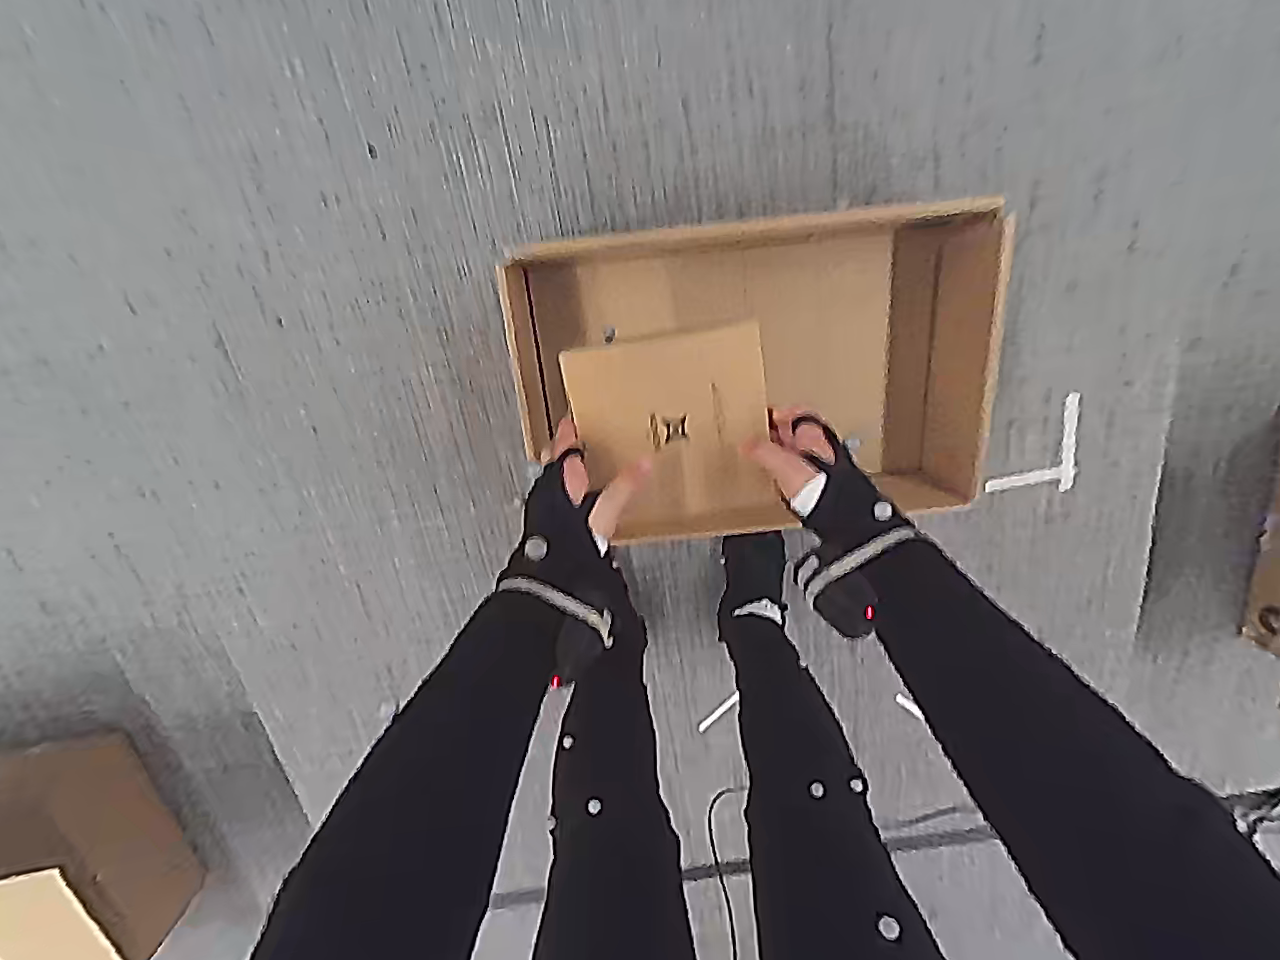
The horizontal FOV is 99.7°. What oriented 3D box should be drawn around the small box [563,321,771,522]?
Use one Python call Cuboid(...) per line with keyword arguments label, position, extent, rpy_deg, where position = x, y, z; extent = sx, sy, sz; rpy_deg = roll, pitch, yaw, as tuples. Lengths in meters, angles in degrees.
Cuboid(label="small box", position=(0.028, -0.071, 0.577), extent=(0.179, 0.176, 0.168), rpy_deg=(-10, 107, 2))
